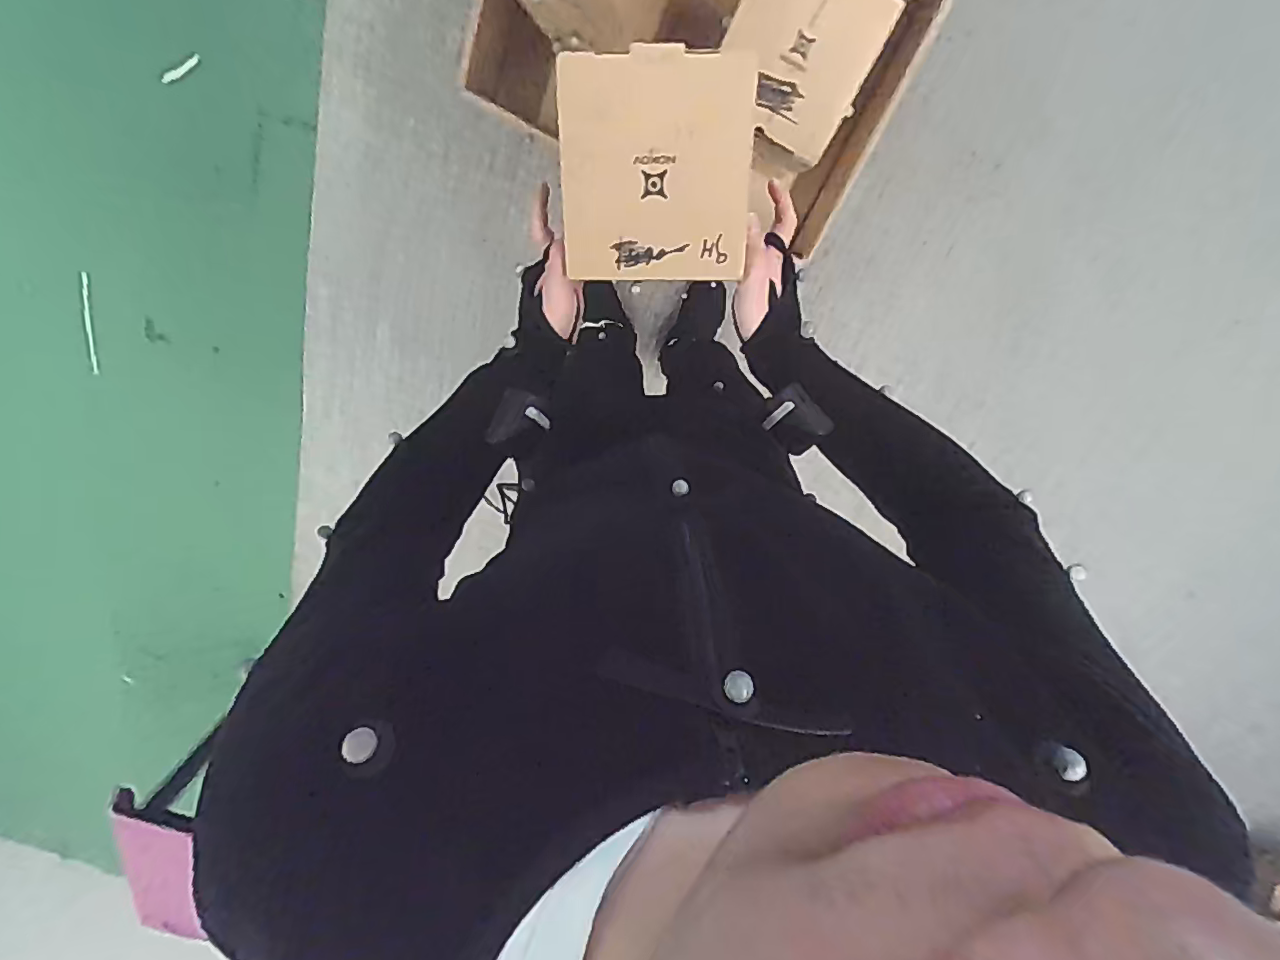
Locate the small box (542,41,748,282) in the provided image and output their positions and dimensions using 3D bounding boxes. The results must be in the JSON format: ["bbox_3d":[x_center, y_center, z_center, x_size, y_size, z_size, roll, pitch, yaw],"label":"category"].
[{"bbox_3d":[0.006,-0.288,0.527,0.168,0.176,0.179,0,111,3],"label":"small box"}]

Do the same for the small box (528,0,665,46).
[{"bbox_3d":[-0.047,-0.643,0.642,0.168,0.176,0.179,24,115,-6],"label":"small box"}]

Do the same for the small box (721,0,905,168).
[{"bbox_3d":[0.186,-0.520,0.680,0.168,0.176,0.179,26,115,-7],"label":"small box"}]
